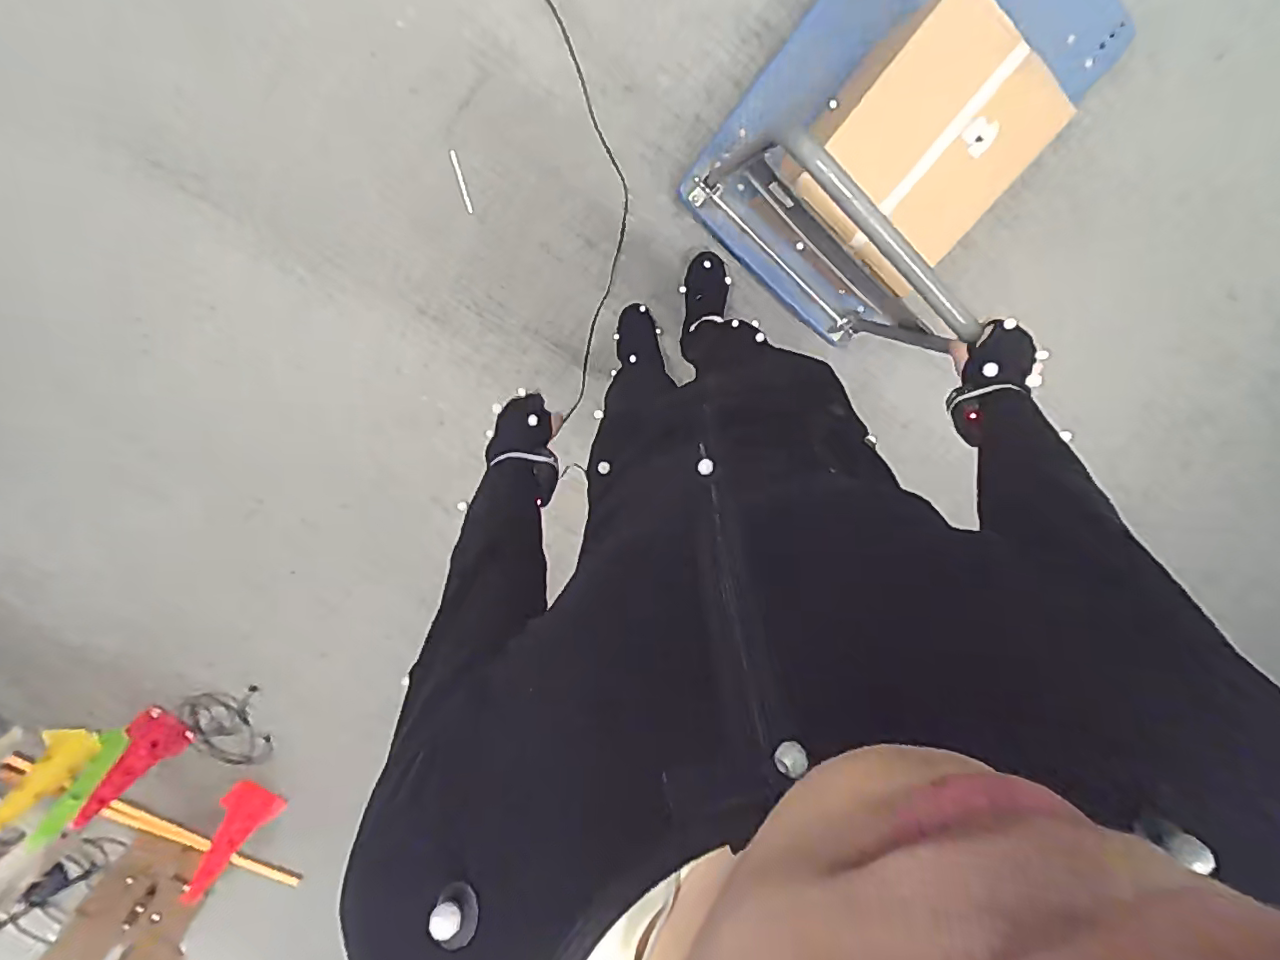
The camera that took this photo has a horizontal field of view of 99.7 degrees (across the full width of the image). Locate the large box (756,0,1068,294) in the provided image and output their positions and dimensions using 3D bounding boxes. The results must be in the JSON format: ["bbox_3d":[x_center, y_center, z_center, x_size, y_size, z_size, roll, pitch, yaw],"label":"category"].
[{"bbox_3d":[0.506,-0.642,1.096,0.320,0.320,0.408,36,106,-16],"label":"large box"}]
